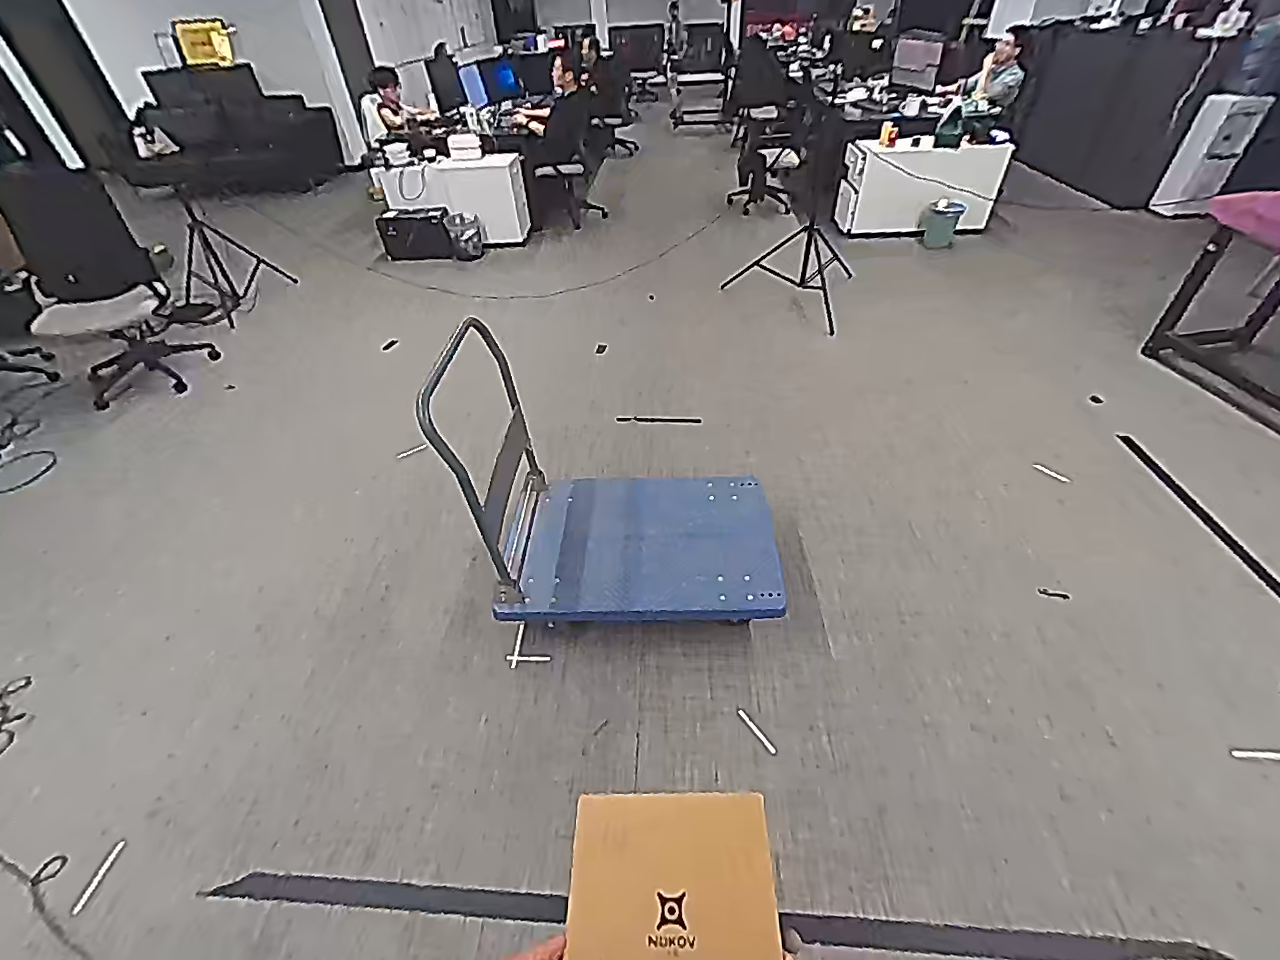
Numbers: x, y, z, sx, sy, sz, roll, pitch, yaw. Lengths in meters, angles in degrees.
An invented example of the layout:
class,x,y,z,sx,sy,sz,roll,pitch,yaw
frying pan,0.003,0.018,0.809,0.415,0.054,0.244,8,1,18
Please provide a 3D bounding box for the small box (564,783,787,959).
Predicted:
class,x,y,z,sx,sy,sz,roll,pitch,yaw
small box,0.034,0.386,0.471,0.168,0.176,0.179,-4,45,6
